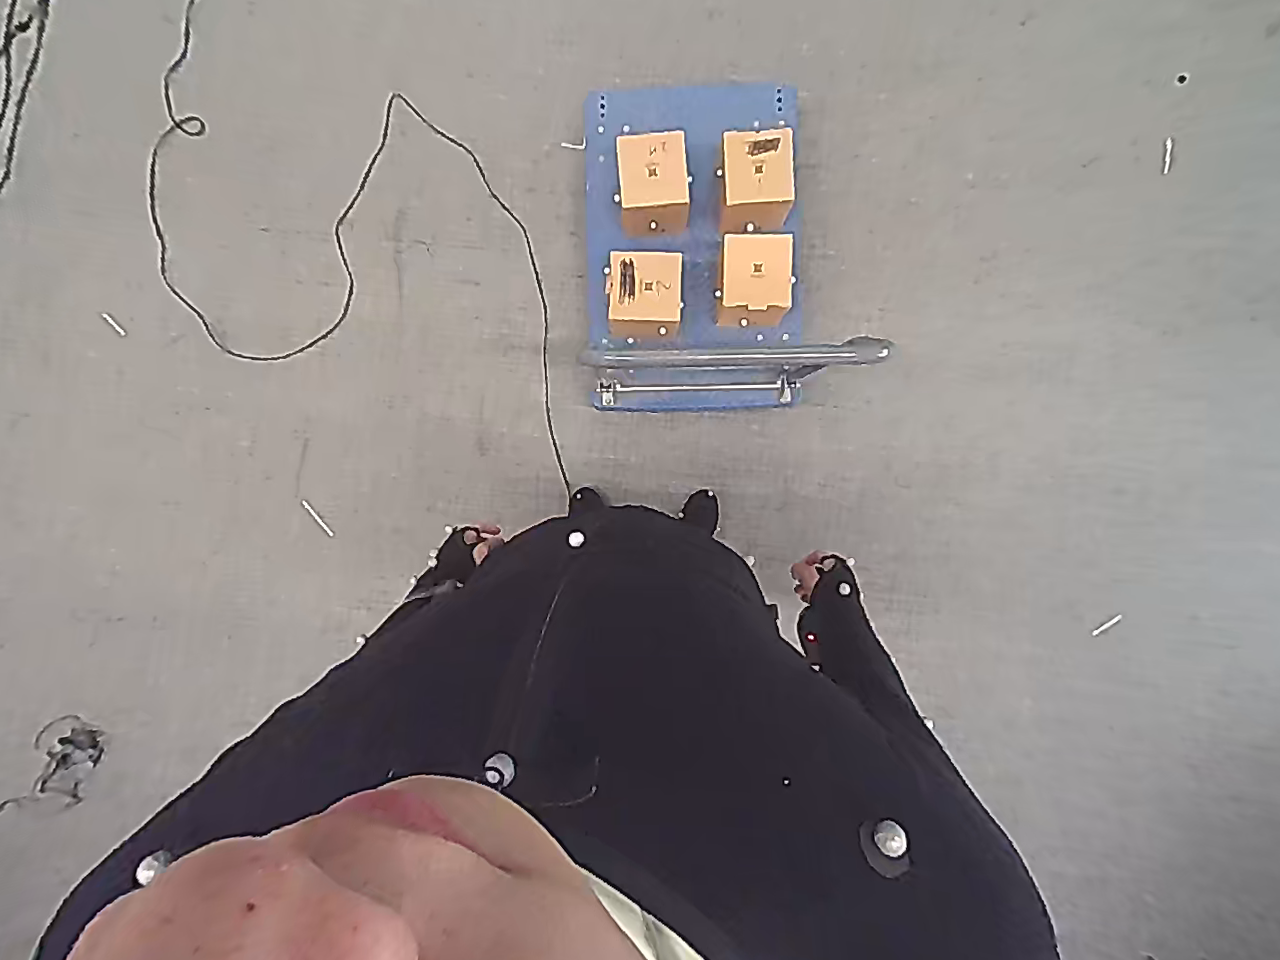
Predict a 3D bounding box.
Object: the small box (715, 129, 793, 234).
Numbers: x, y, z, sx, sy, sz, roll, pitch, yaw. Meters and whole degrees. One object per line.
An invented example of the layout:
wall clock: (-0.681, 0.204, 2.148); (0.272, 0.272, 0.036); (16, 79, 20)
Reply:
small box: (0.282, -0.749, 1.372); (0.168, 0.176, 0.179); (-3, 91, 2)

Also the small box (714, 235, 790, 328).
small box: (0.279, -0.501, 1.377); (0.168, 0.176, 0.179); (1, 90, 1)

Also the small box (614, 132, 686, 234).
small box: (0.027, -0.744, 1.376); (0.168, 0.176, 0.179); (-5, 90, 0)
